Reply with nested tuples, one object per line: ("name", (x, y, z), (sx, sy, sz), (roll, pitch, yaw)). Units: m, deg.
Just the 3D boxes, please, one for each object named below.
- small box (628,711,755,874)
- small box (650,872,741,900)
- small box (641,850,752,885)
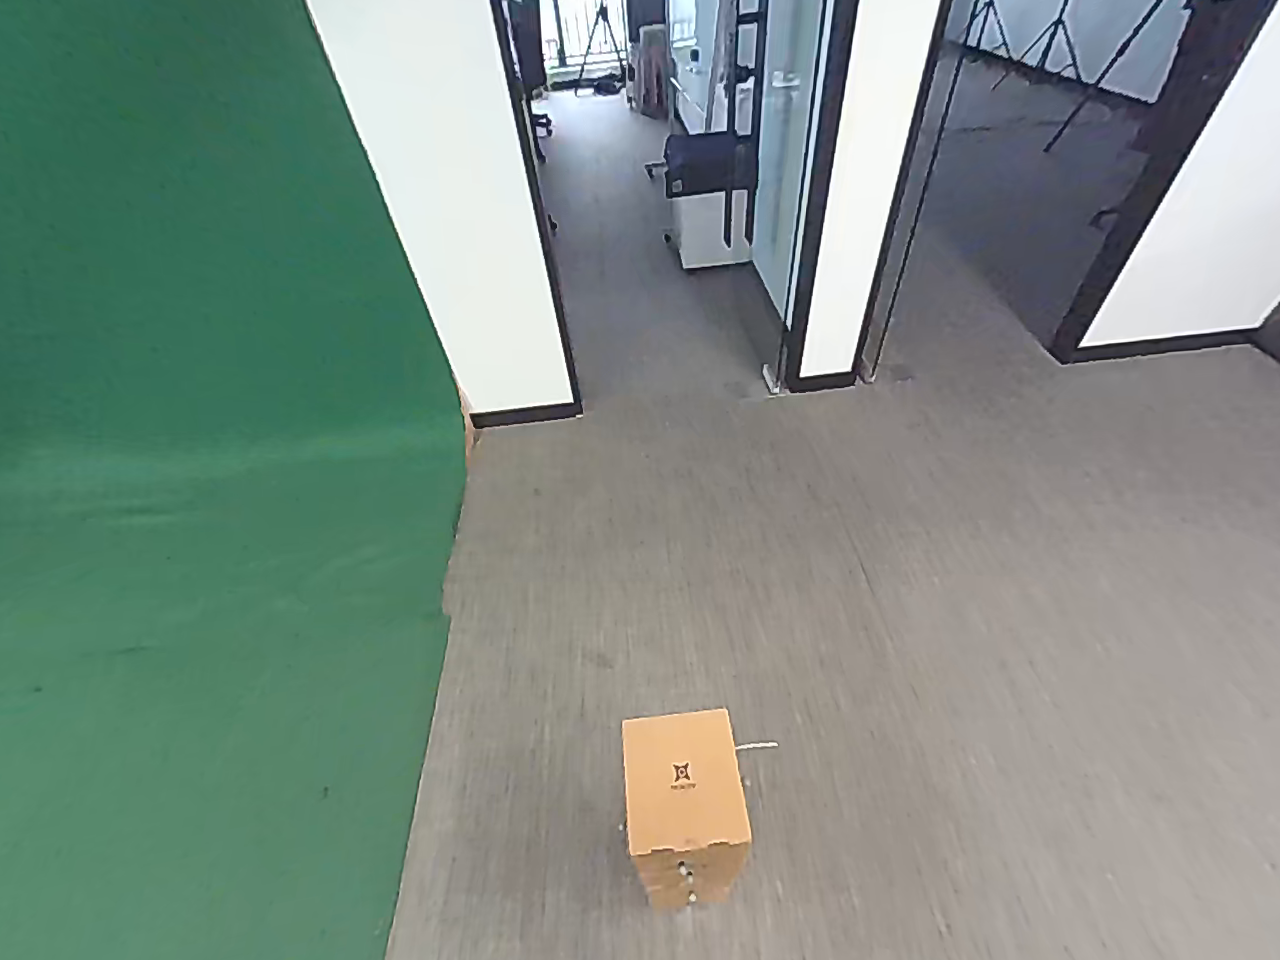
("small box", (0.072, 0.481, 0.832), (0.168, 0.176, 0.179), (-7, 47, 1))
("small box", (0.095, 0.703, 1.070), (0.168, 0.176, 0.179), (-10, 47, -1))
("small box", (0.088, 0.593, 0.949), (0.179, 0.176, 0.168), (-8, 46, 0))
